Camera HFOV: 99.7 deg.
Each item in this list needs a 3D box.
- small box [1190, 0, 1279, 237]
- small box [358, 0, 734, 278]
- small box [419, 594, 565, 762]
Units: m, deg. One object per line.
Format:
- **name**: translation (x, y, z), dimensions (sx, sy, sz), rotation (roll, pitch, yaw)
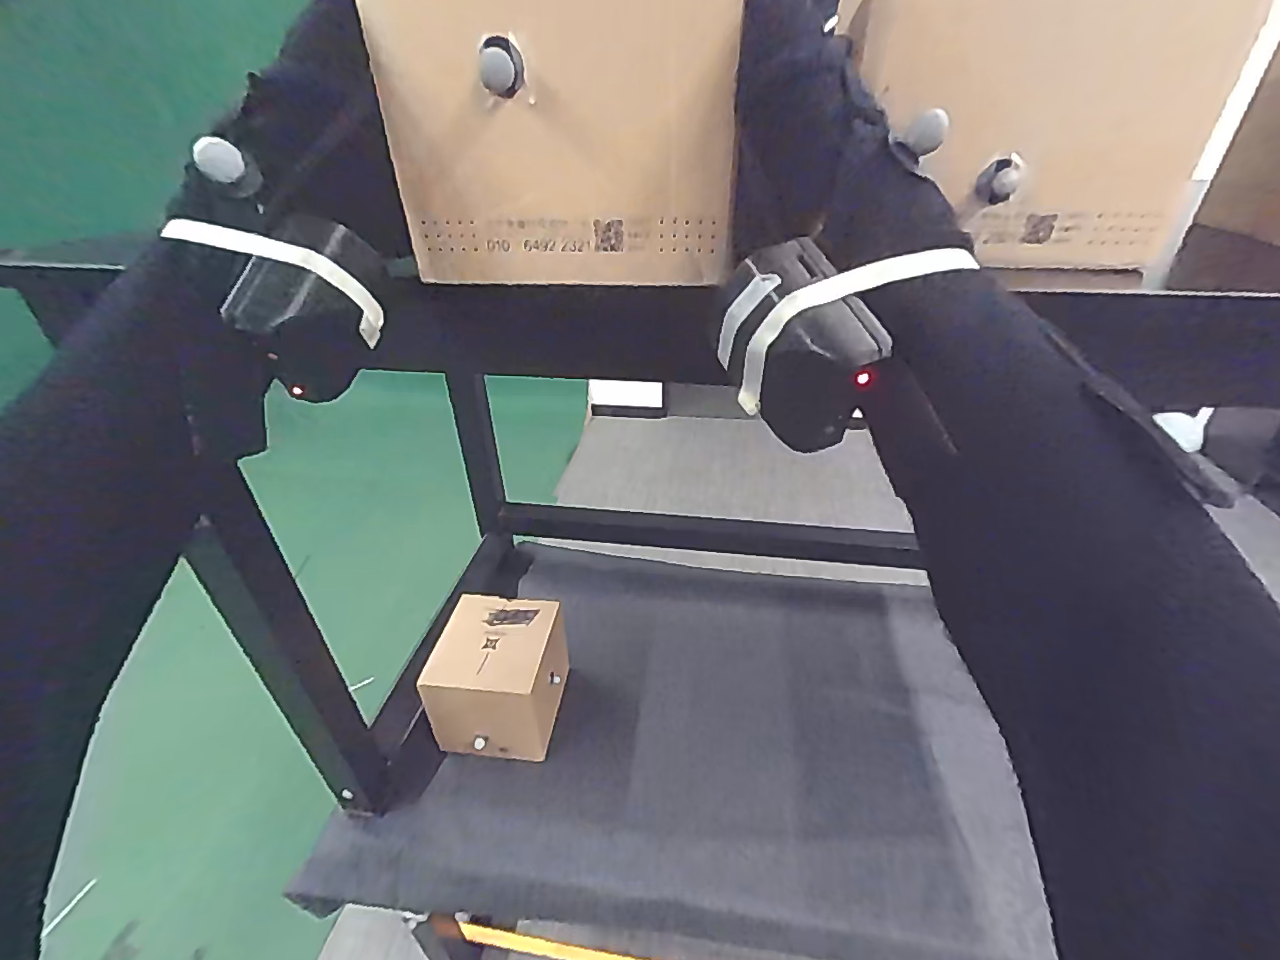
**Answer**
- **small box**: translation (0.470, -0.219, 0.289), dimensions (0.168, 0.176, 0.179), rotation (9, 33, 15)
- **small box**: translation (-0.032, -0.218, 0.310), dimensions (0.168, 0.176, 0.179), rotation (1, 32, 5)
- **small box**: translation (-0.217, 0.306, 0.850), dimensions (0.168, 0.176, 0.179), rotation (3, 33, 6)
